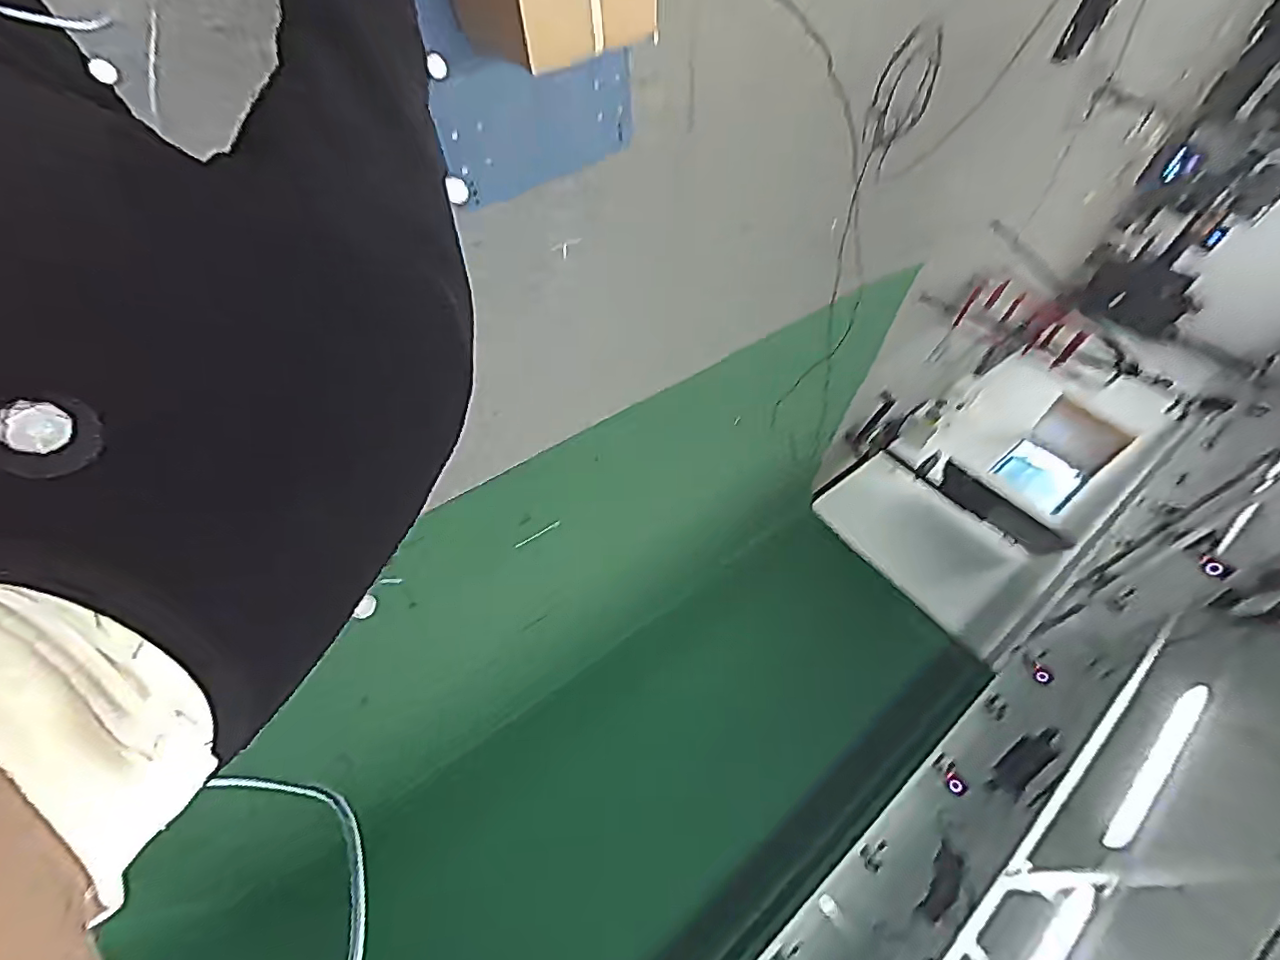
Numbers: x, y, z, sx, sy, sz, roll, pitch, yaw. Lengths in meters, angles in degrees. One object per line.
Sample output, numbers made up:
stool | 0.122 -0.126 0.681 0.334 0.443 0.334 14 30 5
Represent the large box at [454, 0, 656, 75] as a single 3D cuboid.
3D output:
large box | -0.188 -1.064 0.987 0.320 0.320 0.408 -33 152 -17
